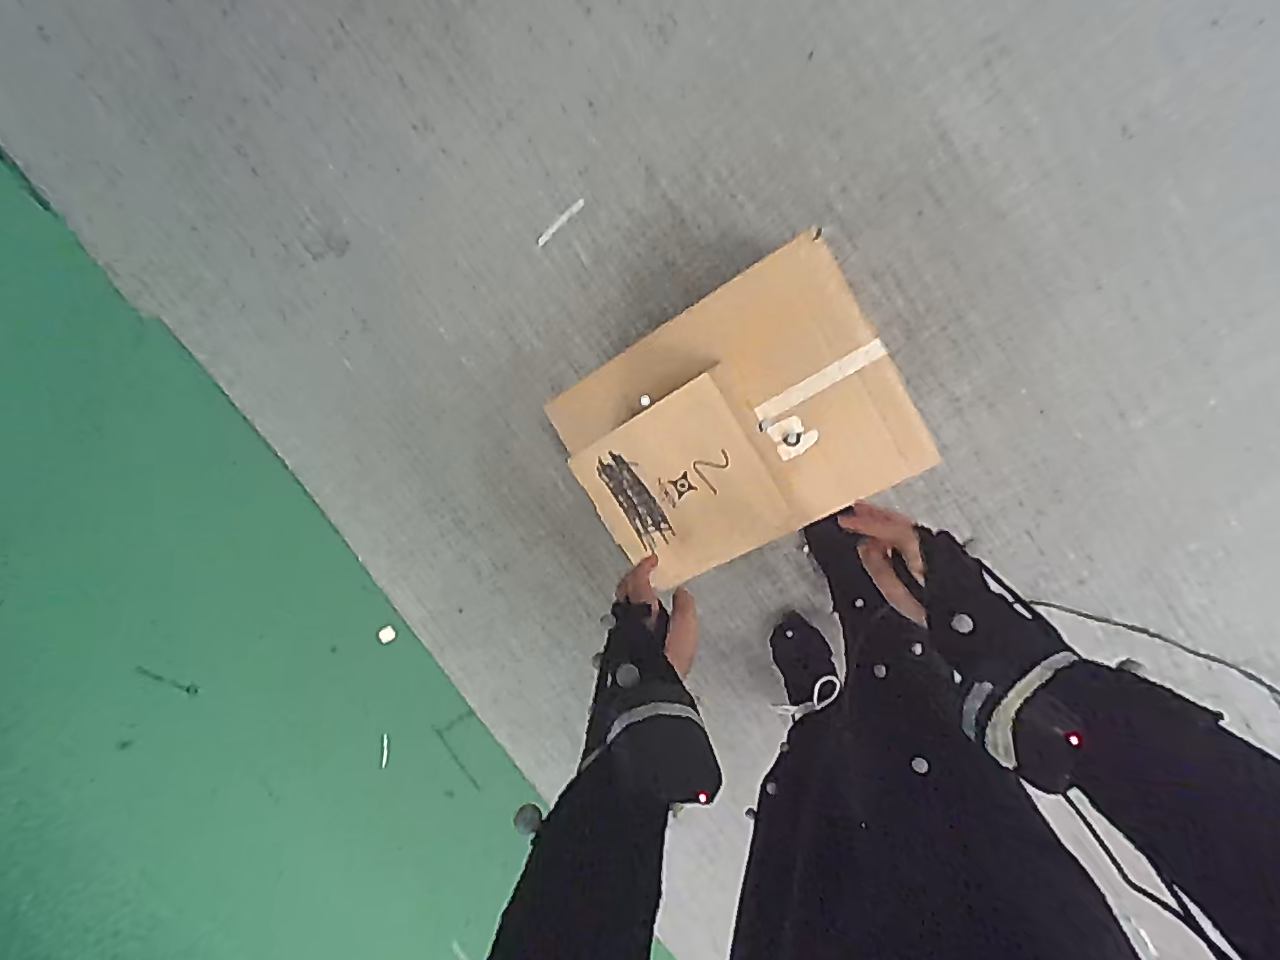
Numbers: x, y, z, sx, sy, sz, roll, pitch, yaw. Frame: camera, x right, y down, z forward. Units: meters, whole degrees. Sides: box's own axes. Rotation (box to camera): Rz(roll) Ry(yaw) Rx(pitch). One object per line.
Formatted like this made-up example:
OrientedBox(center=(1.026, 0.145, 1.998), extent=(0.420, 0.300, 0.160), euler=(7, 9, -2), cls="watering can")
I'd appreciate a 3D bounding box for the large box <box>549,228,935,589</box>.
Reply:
OrientedBox(center=(0.145, -0.101, 0.829), extent=(0.408, 0.320, 0.320), euler=(-30, 97, 19), cls="large box")
